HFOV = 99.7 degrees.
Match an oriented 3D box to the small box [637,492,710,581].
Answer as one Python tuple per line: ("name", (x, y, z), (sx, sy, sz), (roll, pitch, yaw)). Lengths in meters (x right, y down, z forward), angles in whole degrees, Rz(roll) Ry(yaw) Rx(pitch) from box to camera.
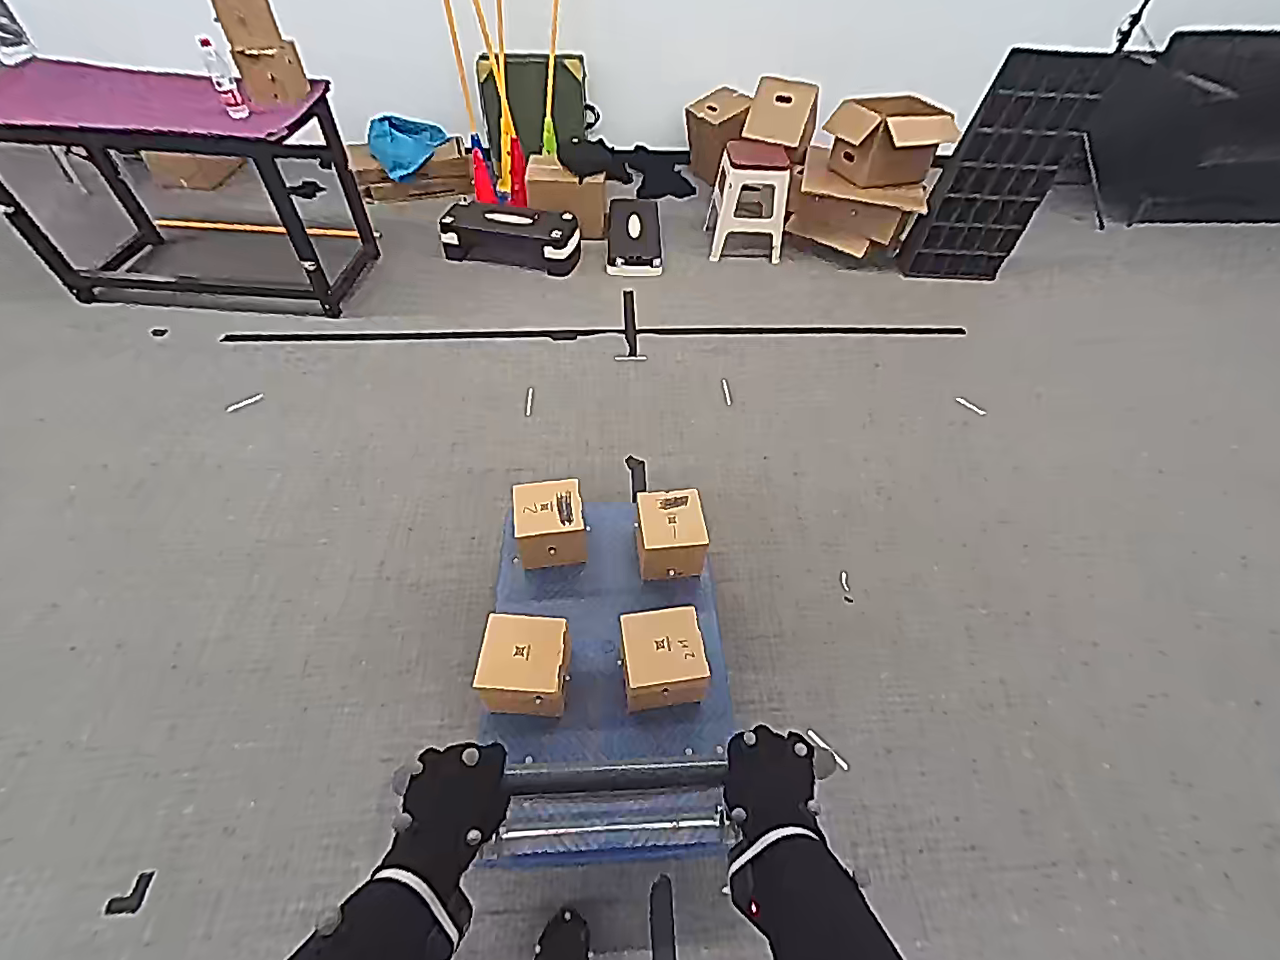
("small box", (0.084, 0.154, 1.458), (0.168, 0.176, 0.179), (-4, 53, -6))

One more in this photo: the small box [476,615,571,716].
("small box", (-0.254, 0.423, 1.225), (0.179, 0.176, 0.168), (5, 51, -2))

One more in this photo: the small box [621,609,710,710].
("small box", (0.052, 0.417, 1.247), (0.179, 0.176, 0.168), (-5, 52, -7))
